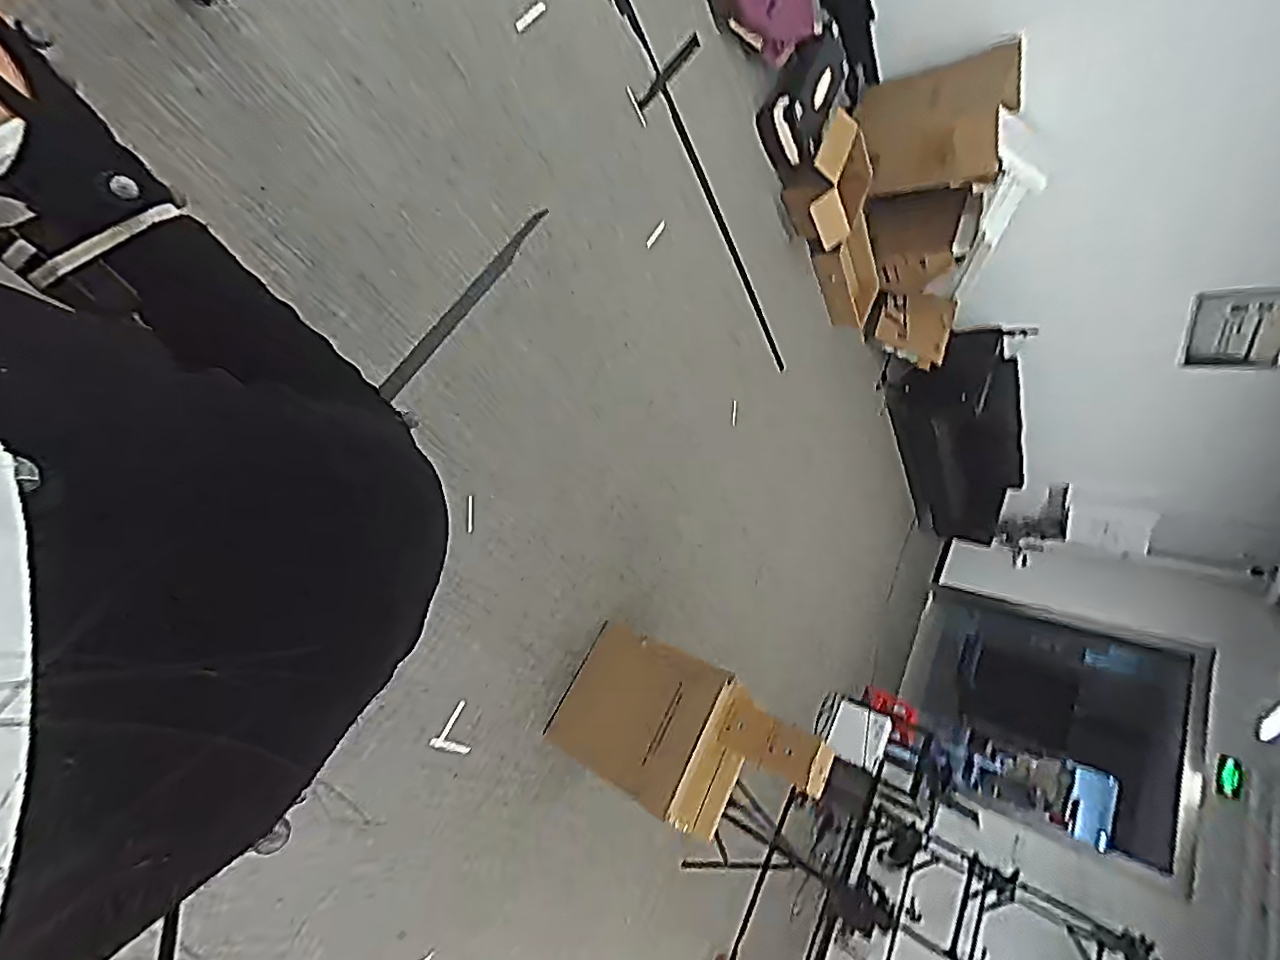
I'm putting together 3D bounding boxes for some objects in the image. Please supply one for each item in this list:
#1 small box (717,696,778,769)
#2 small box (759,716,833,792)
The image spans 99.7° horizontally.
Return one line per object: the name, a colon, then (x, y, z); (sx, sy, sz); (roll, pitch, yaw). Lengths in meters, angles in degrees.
small box: (0.406, 0.904, 1.945); (0.179, 0.176, 0.168); (49, 62, -42)
small box: (0.530, 0.927, 1.839); (0.179, 0.176, 0.168); (47, 64, -42)
